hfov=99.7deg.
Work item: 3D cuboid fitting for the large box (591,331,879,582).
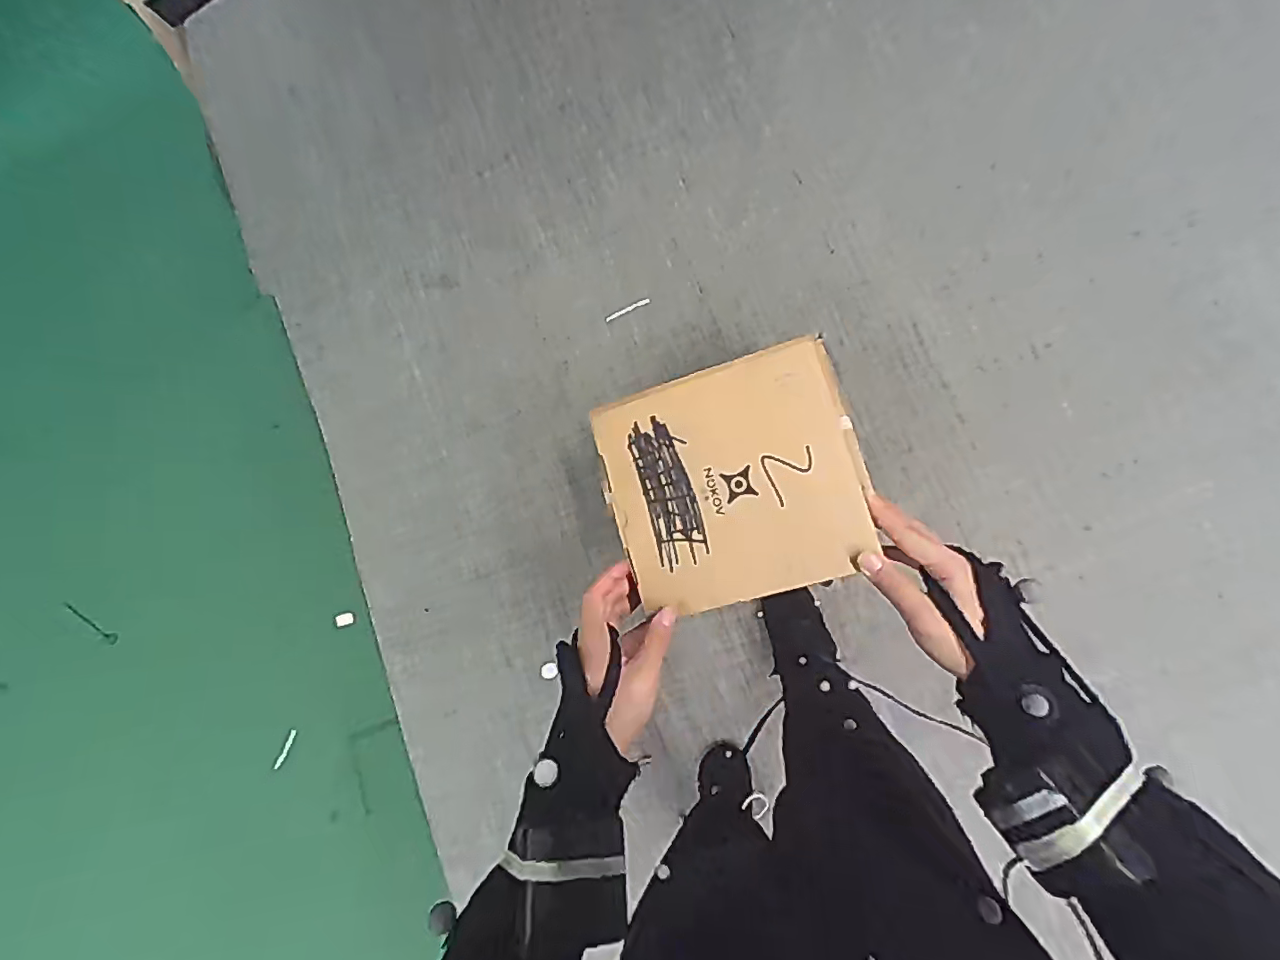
[{"bbox_3d":[0.169,-0.023,1.022,0.408,0.320,0.320,-17,83,10],"label":"large box"}]
